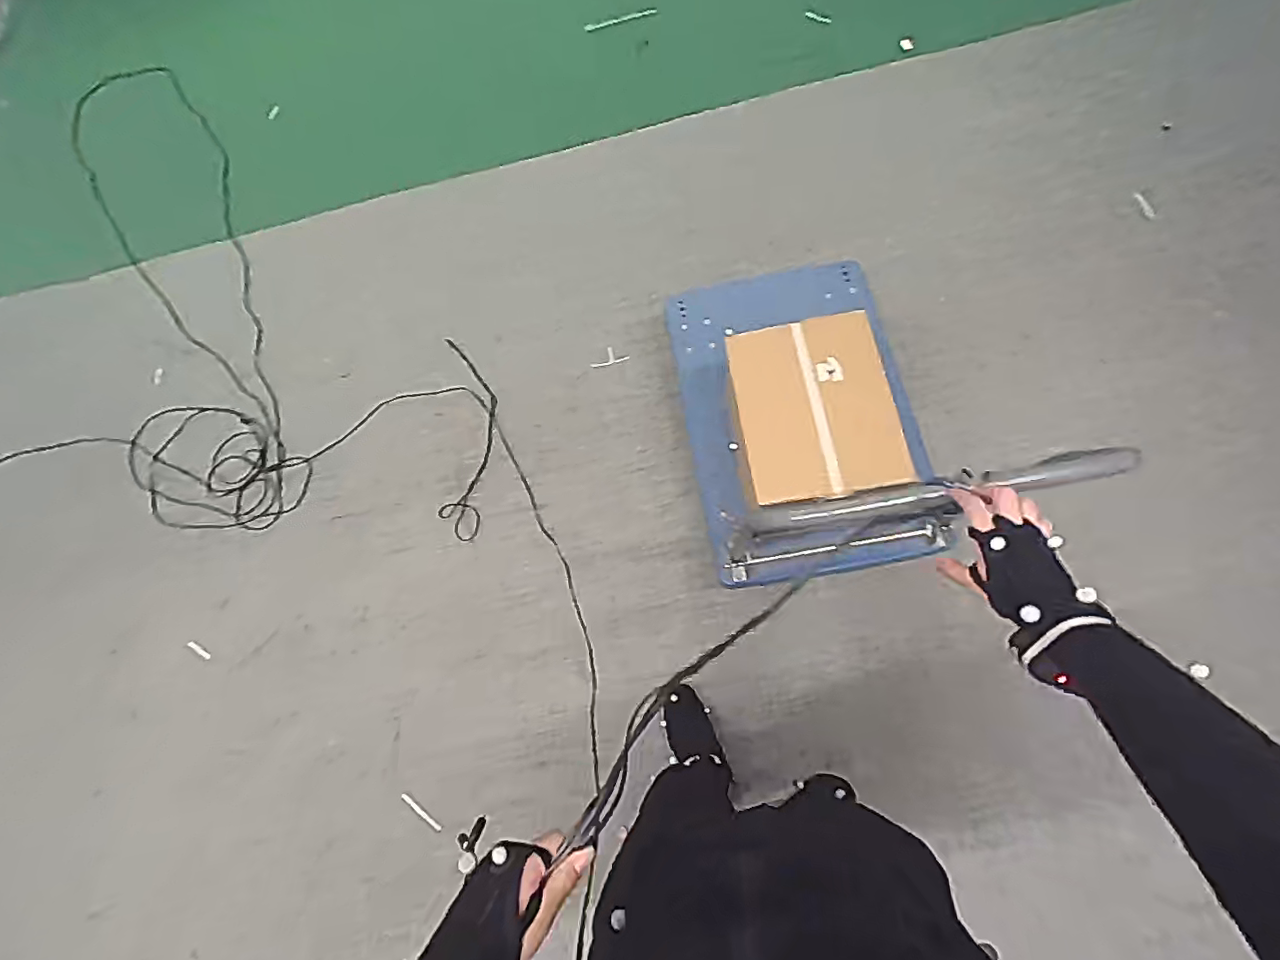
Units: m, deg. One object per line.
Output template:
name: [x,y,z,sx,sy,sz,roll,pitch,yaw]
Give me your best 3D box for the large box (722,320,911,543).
large box: [0.382,-0.097,1.280,0.320,0.320,0.408,-9,70,5]
